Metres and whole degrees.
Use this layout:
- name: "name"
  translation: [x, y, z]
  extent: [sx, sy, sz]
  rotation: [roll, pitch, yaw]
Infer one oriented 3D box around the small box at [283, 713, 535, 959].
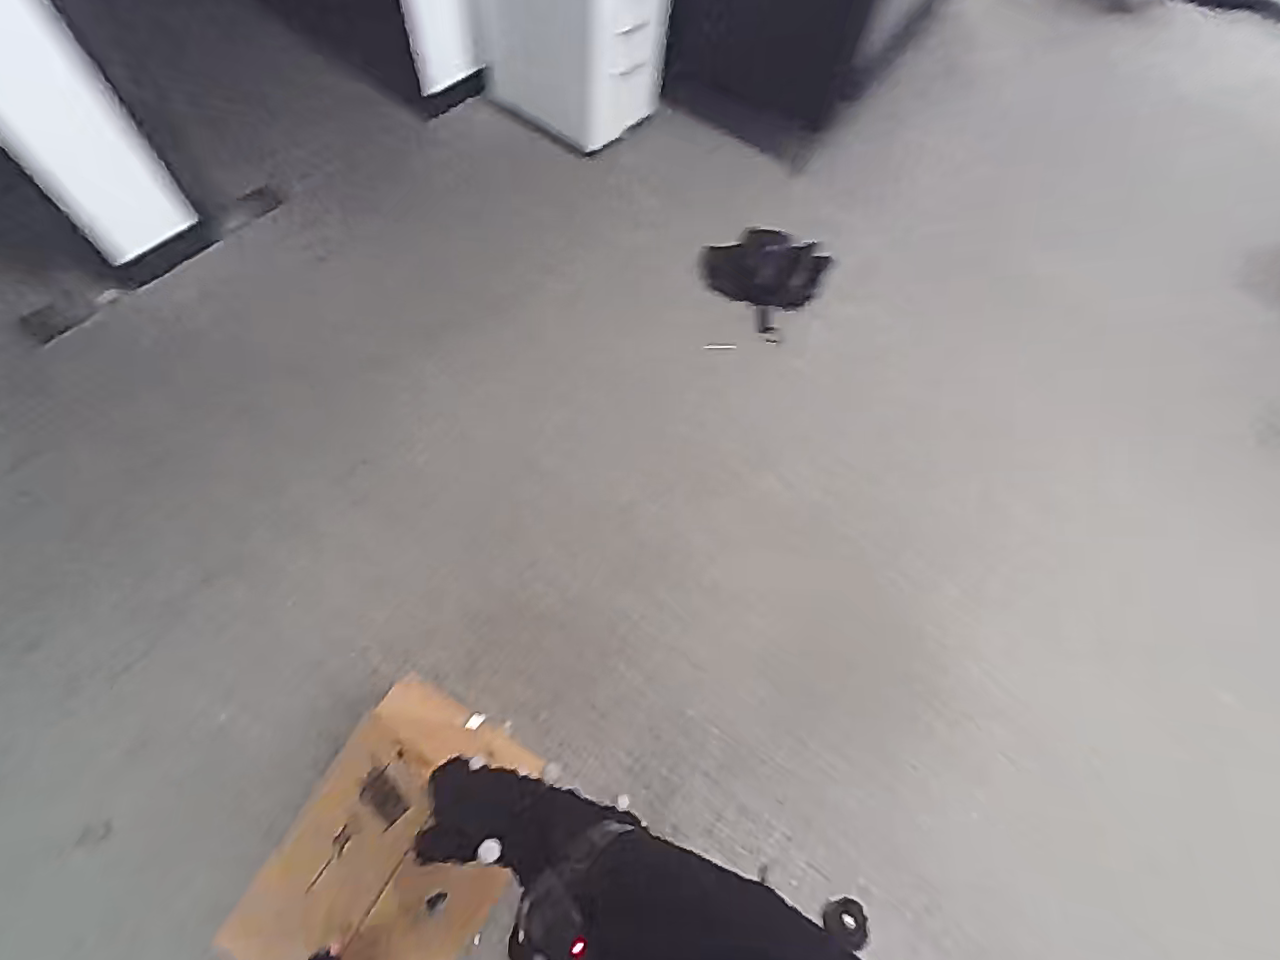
- name: "small box"
  translation: [-0.244, 0.396, 0.603]
  extent: [0.168, 0.176, 0.179]
  rotation: [22, 76, 42]
